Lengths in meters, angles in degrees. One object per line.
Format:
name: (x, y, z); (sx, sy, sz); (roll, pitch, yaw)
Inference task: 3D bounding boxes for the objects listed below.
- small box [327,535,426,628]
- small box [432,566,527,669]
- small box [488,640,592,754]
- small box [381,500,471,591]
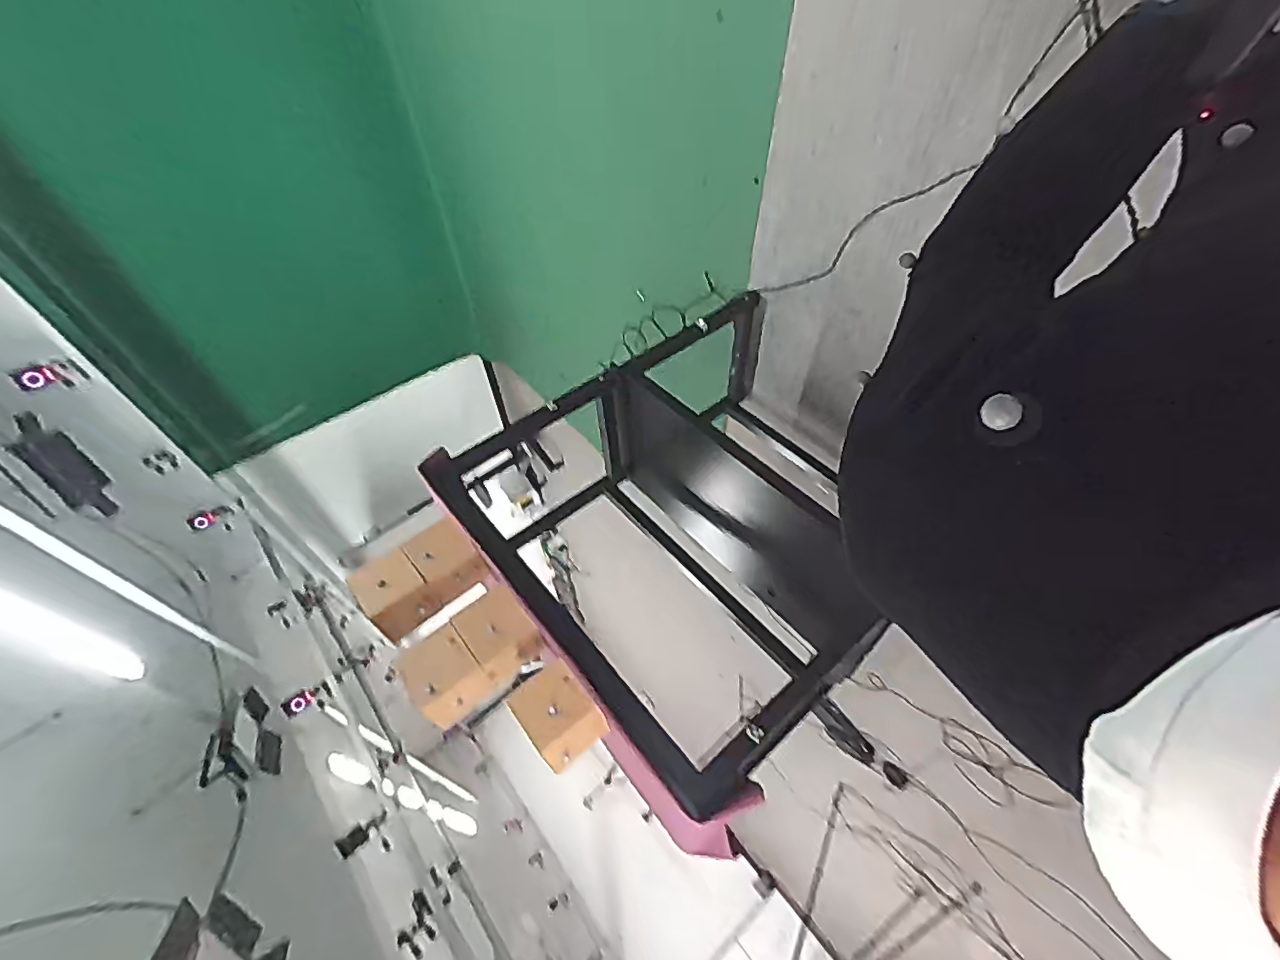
small box: (-0.745, 0.281, 1.544); (0.179, 0.176, 0.168); (38, 153, 29)
small box: (-0.421, 0.367, 1.456); (0.179, 0.176, 0.168); (42, 154, 26)
small box: (-0.241, 0.530, 1.334); (0.168, 0.176, 0.179); (39, 154, 32)
small box: (-0.624, 0.192, 1.609); (0.179, 0.176, 0.168); (43, 155, 24)
